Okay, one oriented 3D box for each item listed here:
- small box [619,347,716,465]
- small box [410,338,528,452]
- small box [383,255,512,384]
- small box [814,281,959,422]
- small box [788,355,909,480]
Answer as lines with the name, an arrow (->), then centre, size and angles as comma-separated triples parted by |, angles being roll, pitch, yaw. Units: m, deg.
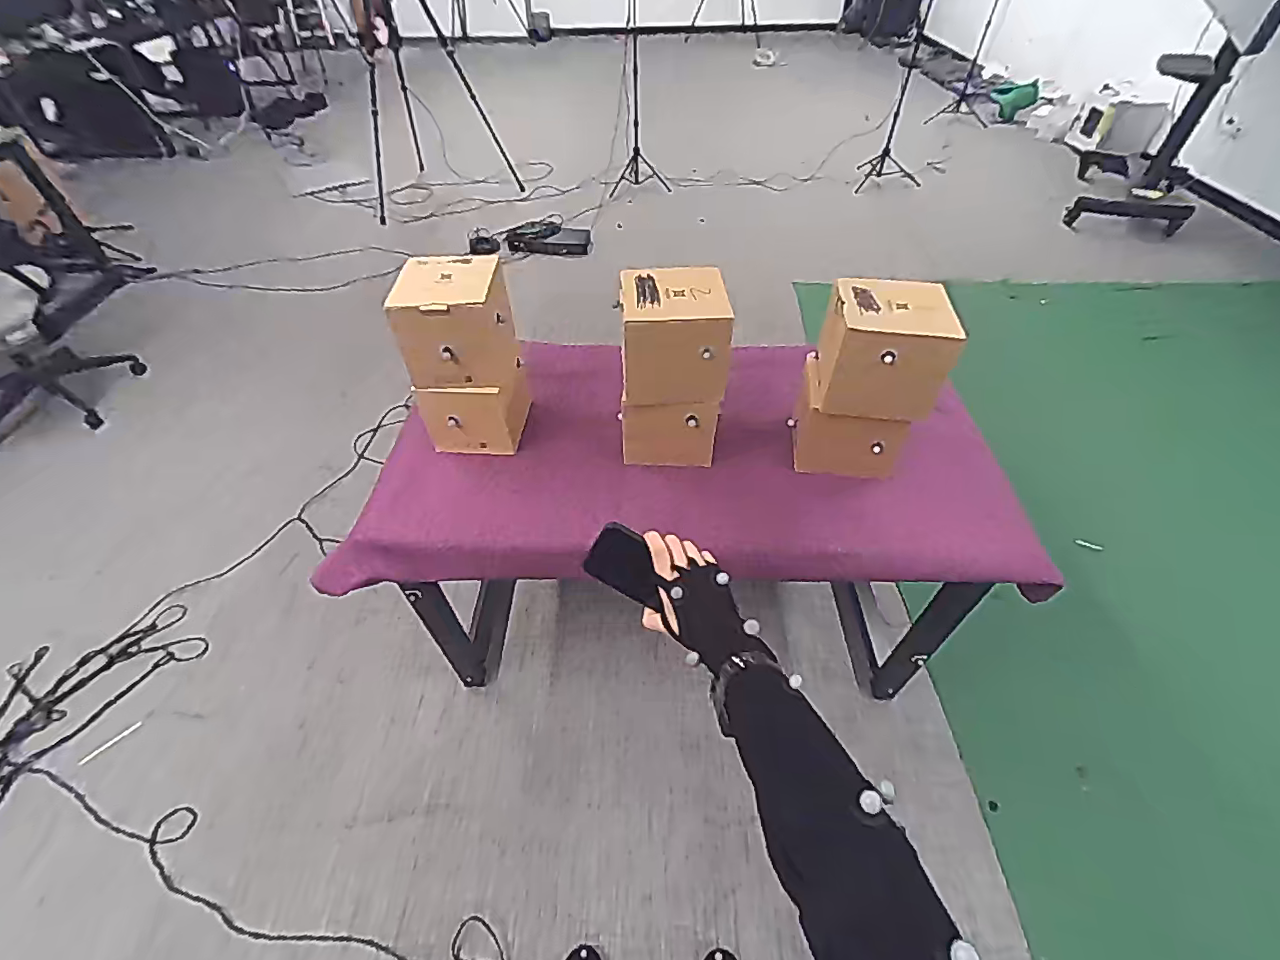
small box -> 0.053, -0.143, 1.071 | 0.179, 0.176, 0.168 | 2, 48, 3
small box -> -0.335, -0.173, 1.103 | 0.168, 0.176, 0.179 | 3, 48, 3
small box -> -0.336, -0.289, 0.987 | 0.168, 0.176, 0.179 | -1, 49, -1
small box -> 0.399, -0.216, 0.916 | 0.179, 0.176, 0.168 | 7, 48, 6
small box -> 0.392, -0.118, 1.048 | 0.179, 0.176, 0.168 | 7, 48, 7
